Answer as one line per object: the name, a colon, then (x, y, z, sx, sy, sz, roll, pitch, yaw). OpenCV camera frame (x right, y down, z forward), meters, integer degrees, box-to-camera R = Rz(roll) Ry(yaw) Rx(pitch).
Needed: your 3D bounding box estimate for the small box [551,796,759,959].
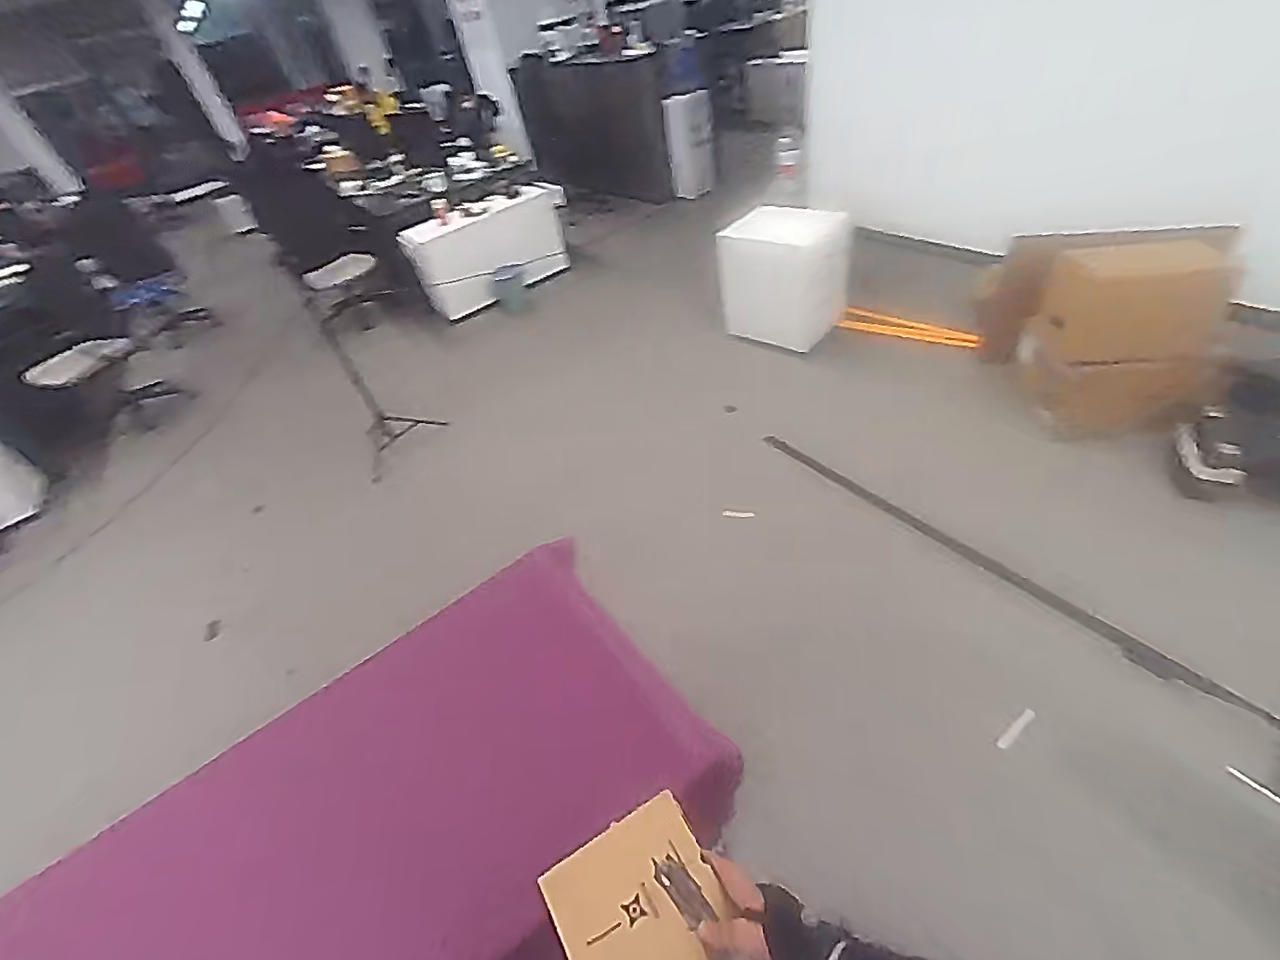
small box: (0.015, 0.520, 0.640, 0.179, 0.176, 0.168, -24, 48, -19)
